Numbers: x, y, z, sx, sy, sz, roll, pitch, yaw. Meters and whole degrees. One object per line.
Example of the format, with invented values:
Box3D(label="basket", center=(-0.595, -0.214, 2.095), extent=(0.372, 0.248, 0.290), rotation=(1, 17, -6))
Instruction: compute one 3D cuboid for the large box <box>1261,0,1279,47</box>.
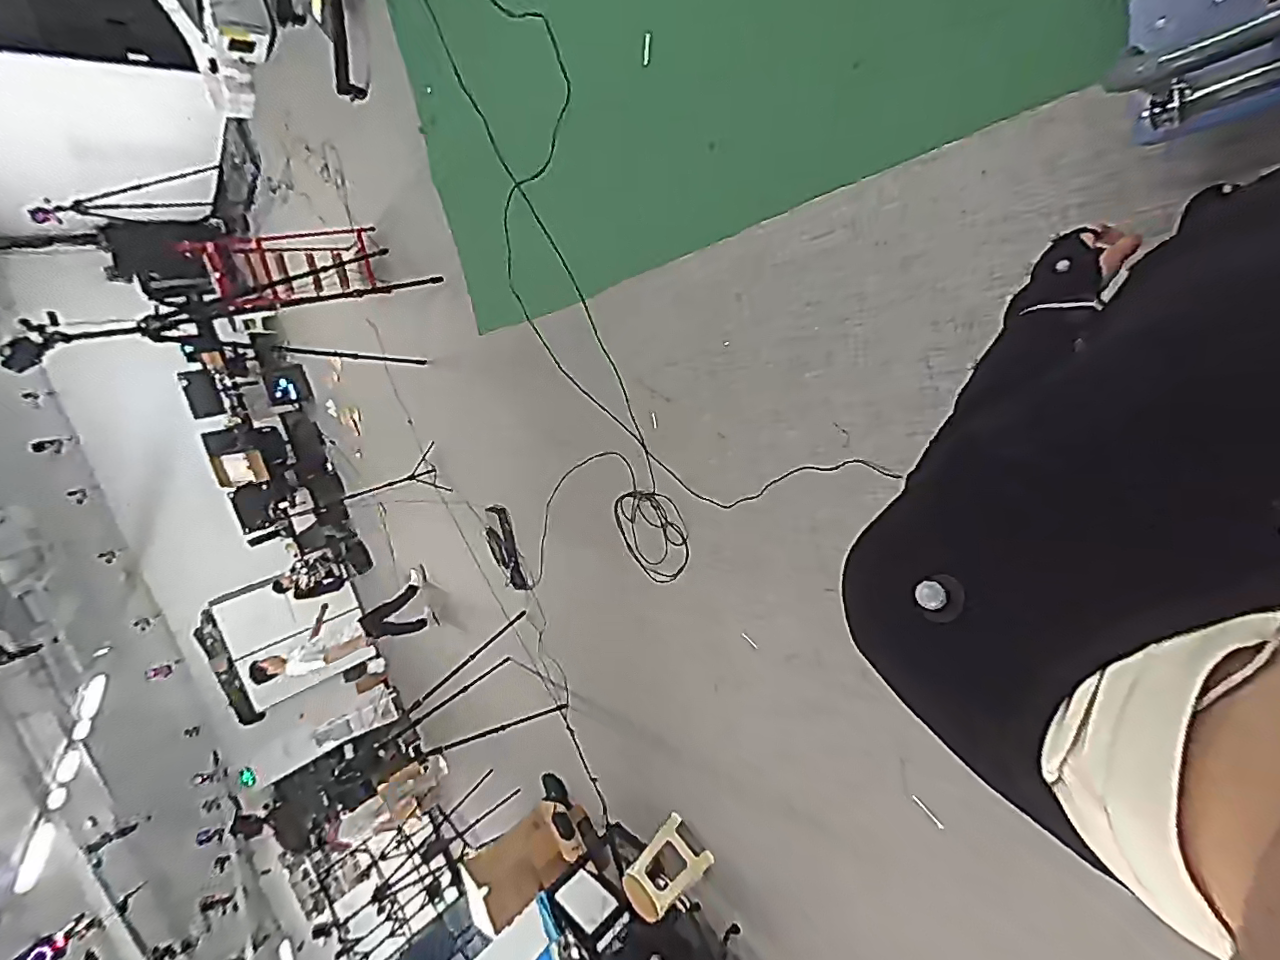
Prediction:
Box3D(label="large box", center=(0.949, -0.841, 0.629), extent=(0.320, 0.320, 0.408), rotation=(-1, 105, 48))
